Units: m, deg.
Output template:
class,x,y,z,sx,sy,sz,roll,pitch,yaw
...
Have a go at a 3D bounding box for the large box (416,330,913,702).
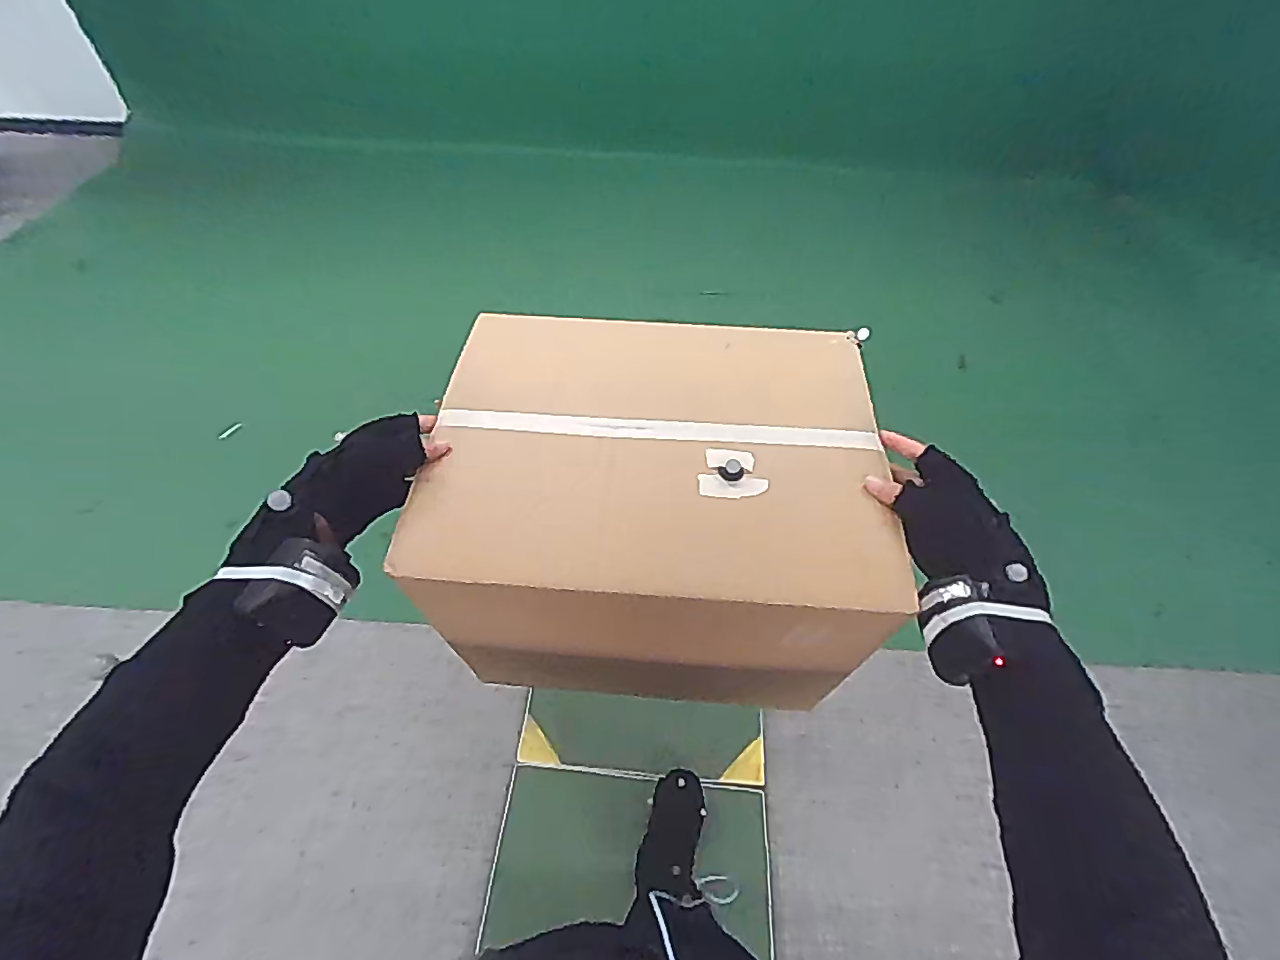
class,x,y,z,sx,sy,sz,roll,pitch,yaw
large box,0.021,0.053,0.631,0.408,0.320,0.320,4,55,1
